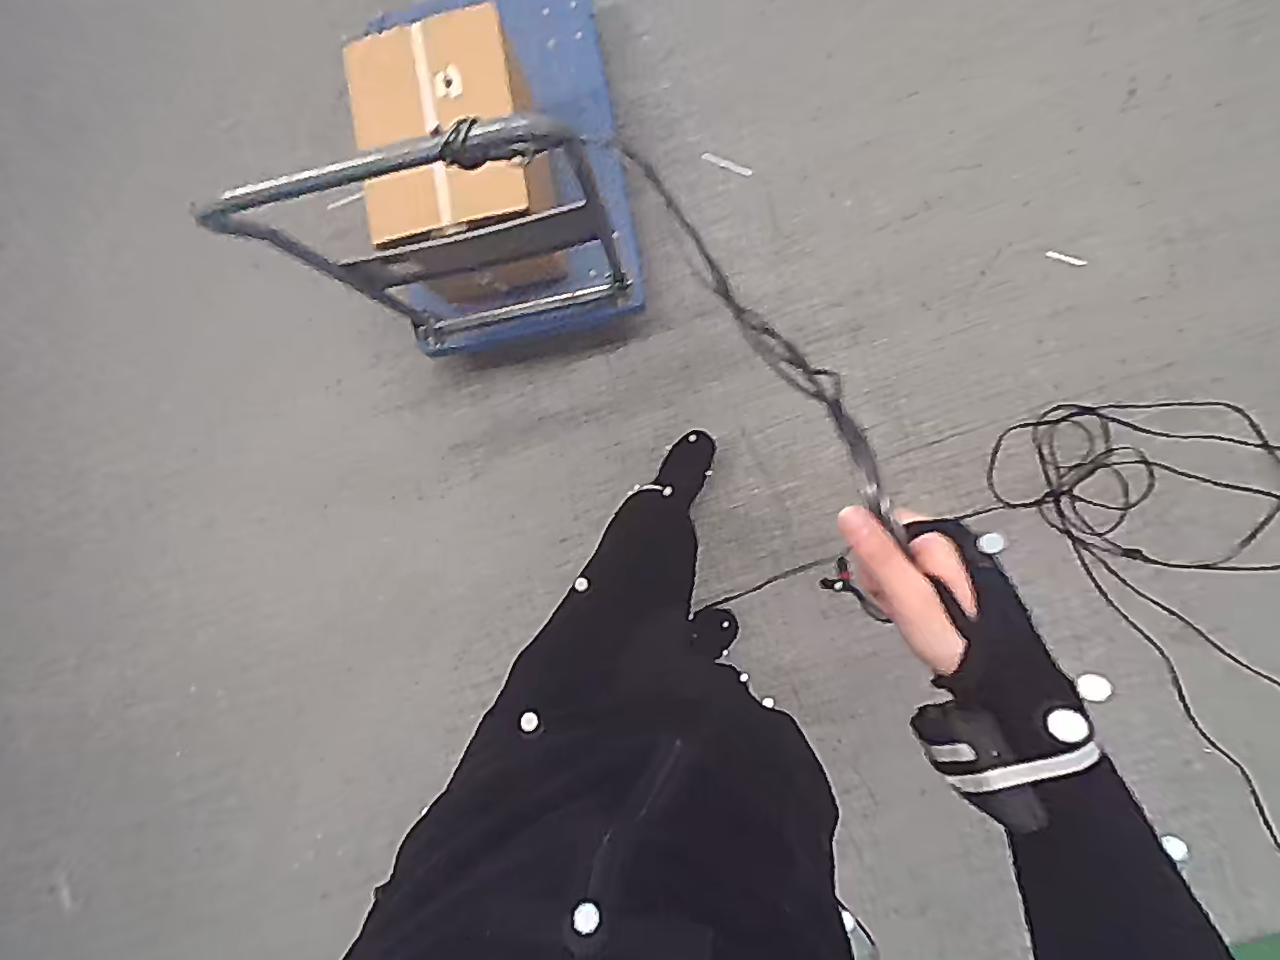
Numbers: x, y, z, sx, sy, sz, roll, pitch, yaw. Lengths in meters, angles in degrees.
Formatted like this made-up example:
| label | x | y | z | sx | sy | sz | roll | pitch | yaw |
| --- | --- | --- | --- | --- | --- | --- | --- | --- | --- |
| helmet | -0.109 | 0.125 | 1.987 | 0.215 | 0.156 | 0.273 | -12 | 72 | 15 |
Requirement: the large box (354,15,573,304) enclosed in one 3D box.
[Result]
| label | x | y | z | sx | sy | sz | roll | pitch | yaw |
| --- | --- | --- | --- | --- | --- | --- | --- | --- | --- |
| large box | -0.360 | -0.656 | 1.179 | 0.320 | 0.320 | 0.408 | -10 | 86 | 6 |
